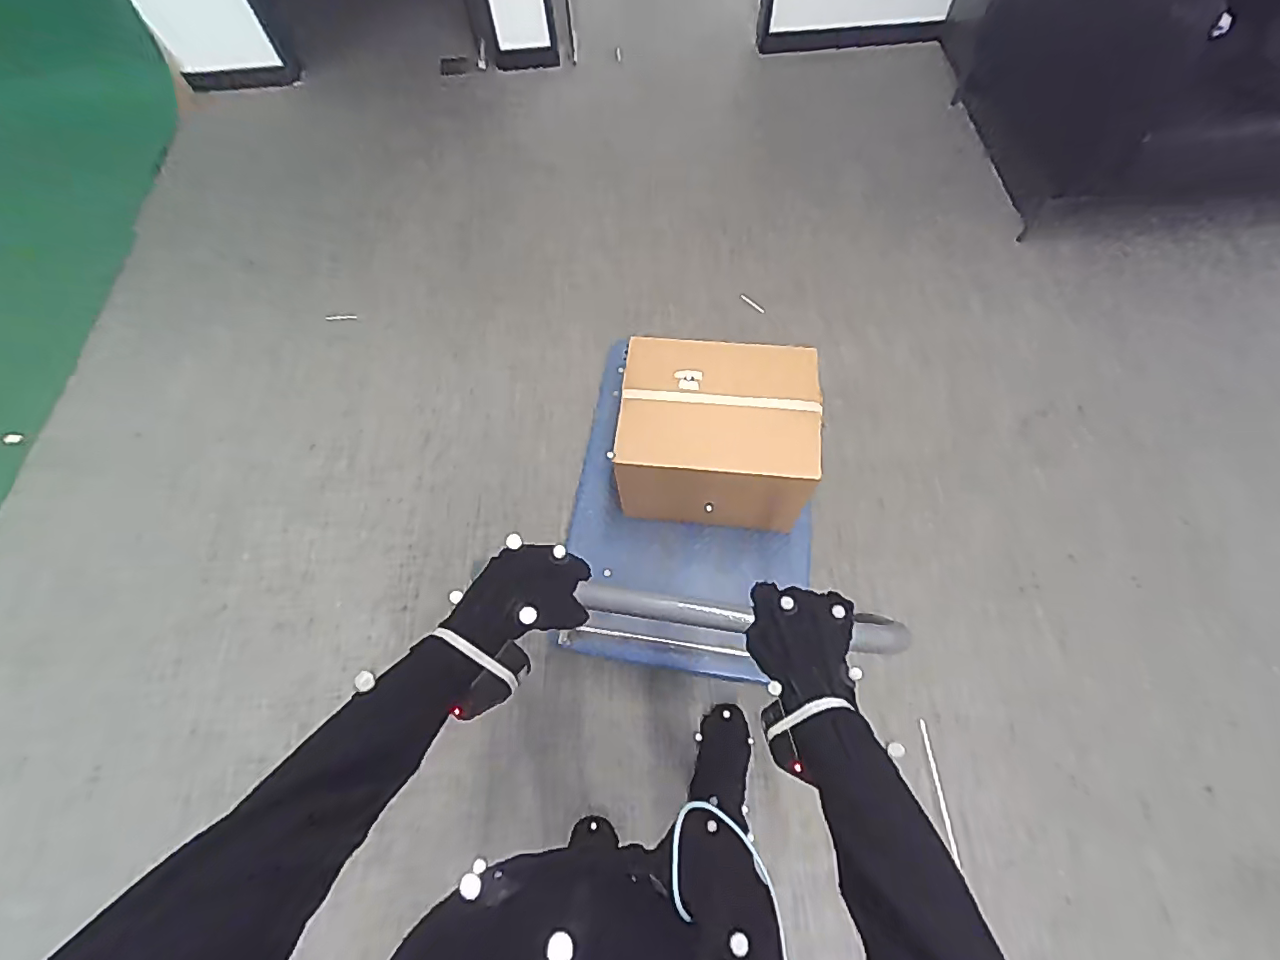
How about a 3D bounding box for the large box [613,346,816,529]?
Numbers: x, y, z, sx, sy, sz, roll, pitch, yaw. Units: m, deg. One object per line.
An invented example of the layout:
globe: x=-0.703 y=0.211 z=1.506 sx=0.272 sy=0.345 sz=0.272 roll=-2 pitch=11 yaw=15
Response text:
large box: x=0.166 y=-0.087 z=1.253 sx=0.408 sy=0.320 sz=0.320 roll=4 pitch=65 yaw=5
